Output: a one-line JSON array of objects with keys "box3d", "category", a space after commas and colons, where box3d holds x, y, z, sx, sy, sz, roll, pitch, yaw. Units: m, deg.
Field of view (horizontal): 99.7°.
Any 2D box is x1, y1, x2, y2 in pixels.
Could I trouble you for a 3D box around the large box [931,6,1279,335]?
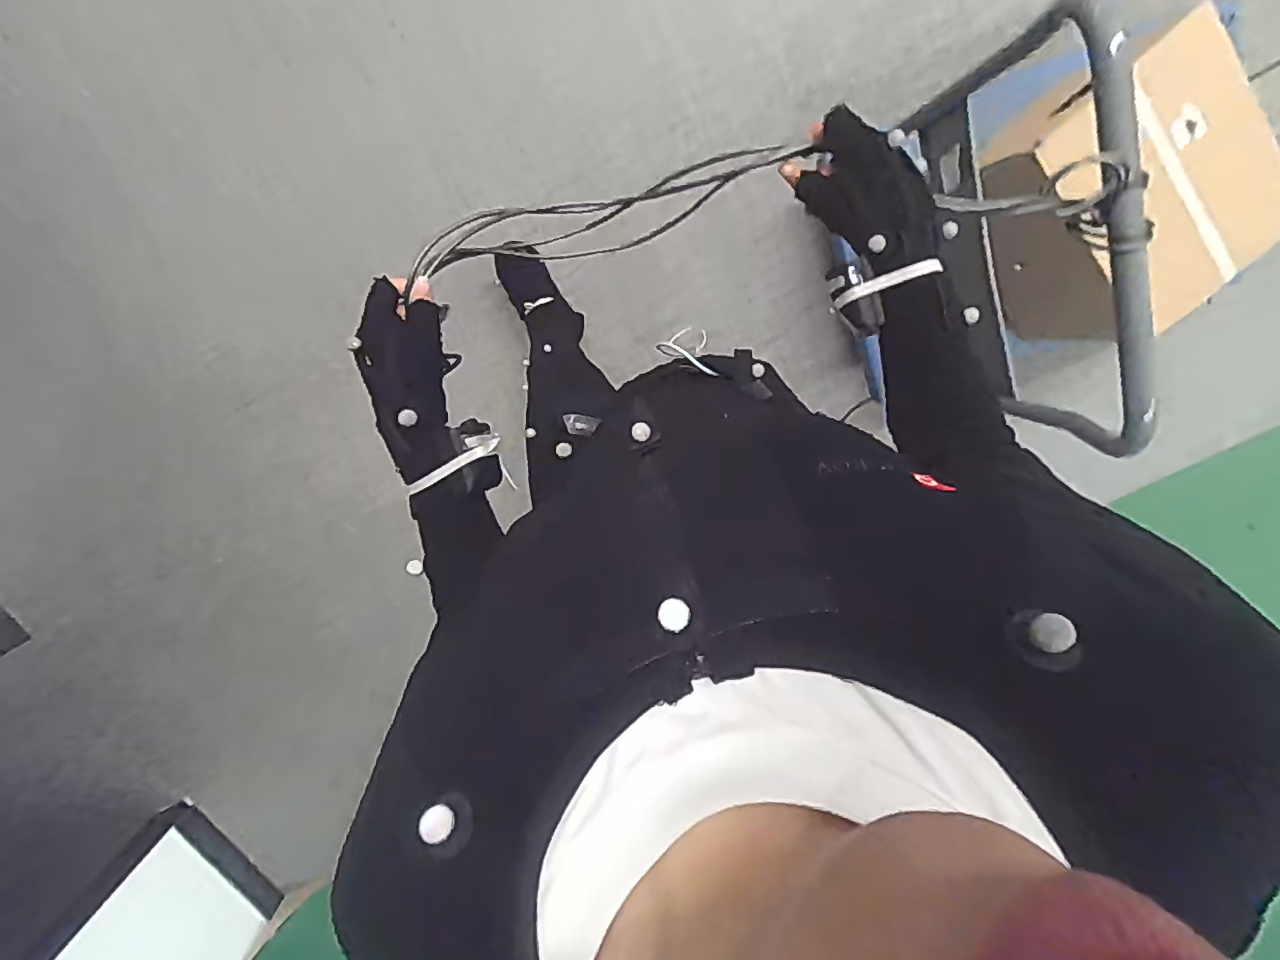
[{"box3d": [0.867, -0.534, 1.039, 0.320, 0.320, 0.408, -41, 103, 9], "category": "large box"}]
